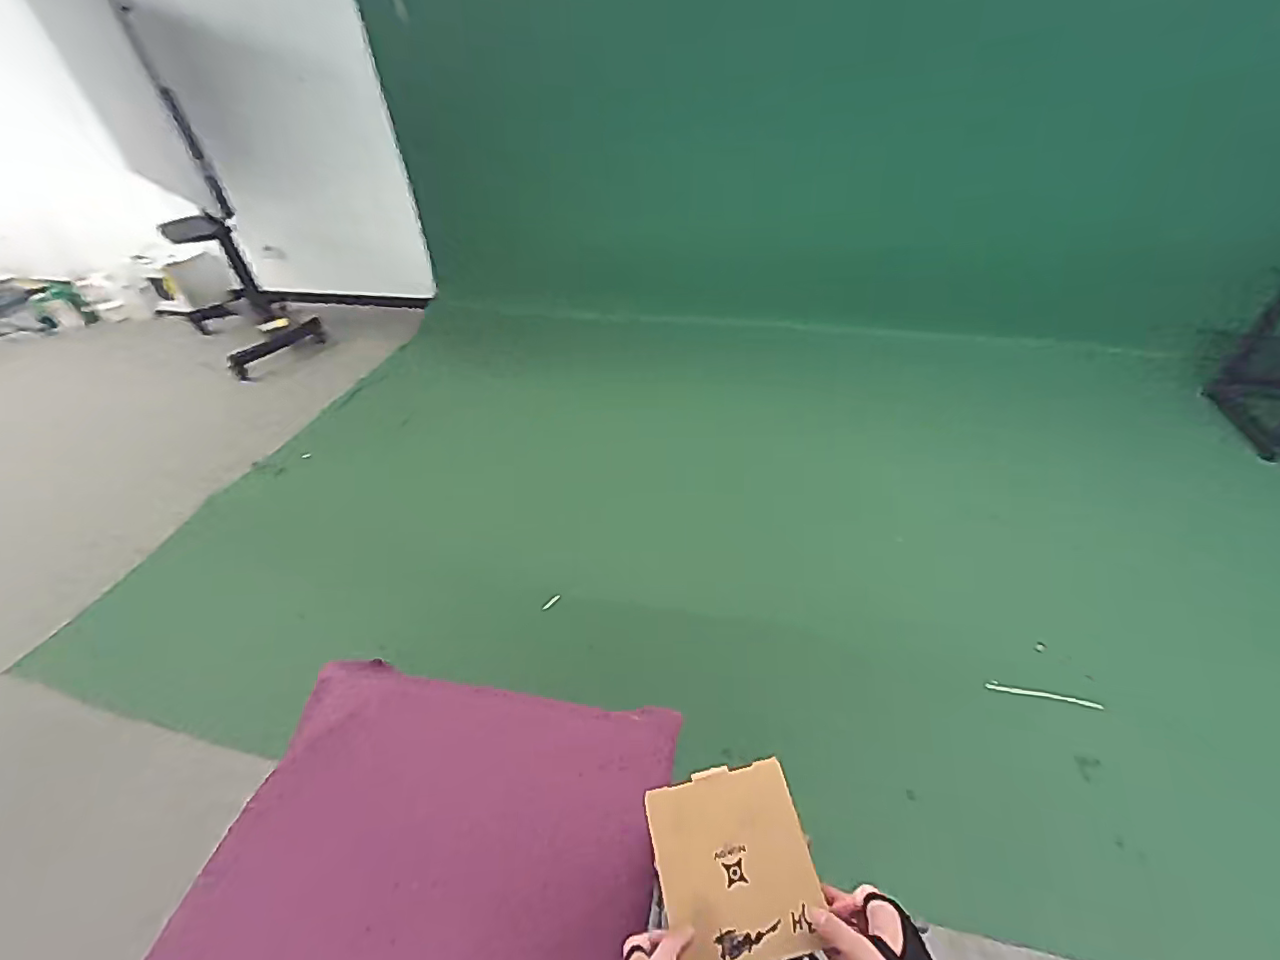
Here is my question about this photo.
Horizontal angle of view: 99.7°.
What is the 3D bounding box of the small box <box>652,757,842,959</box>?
[{"bbox_3d":[0.119,0.454,0.645,0.168,0.176,0.179,-15,55,2],"label":"small box"}]
